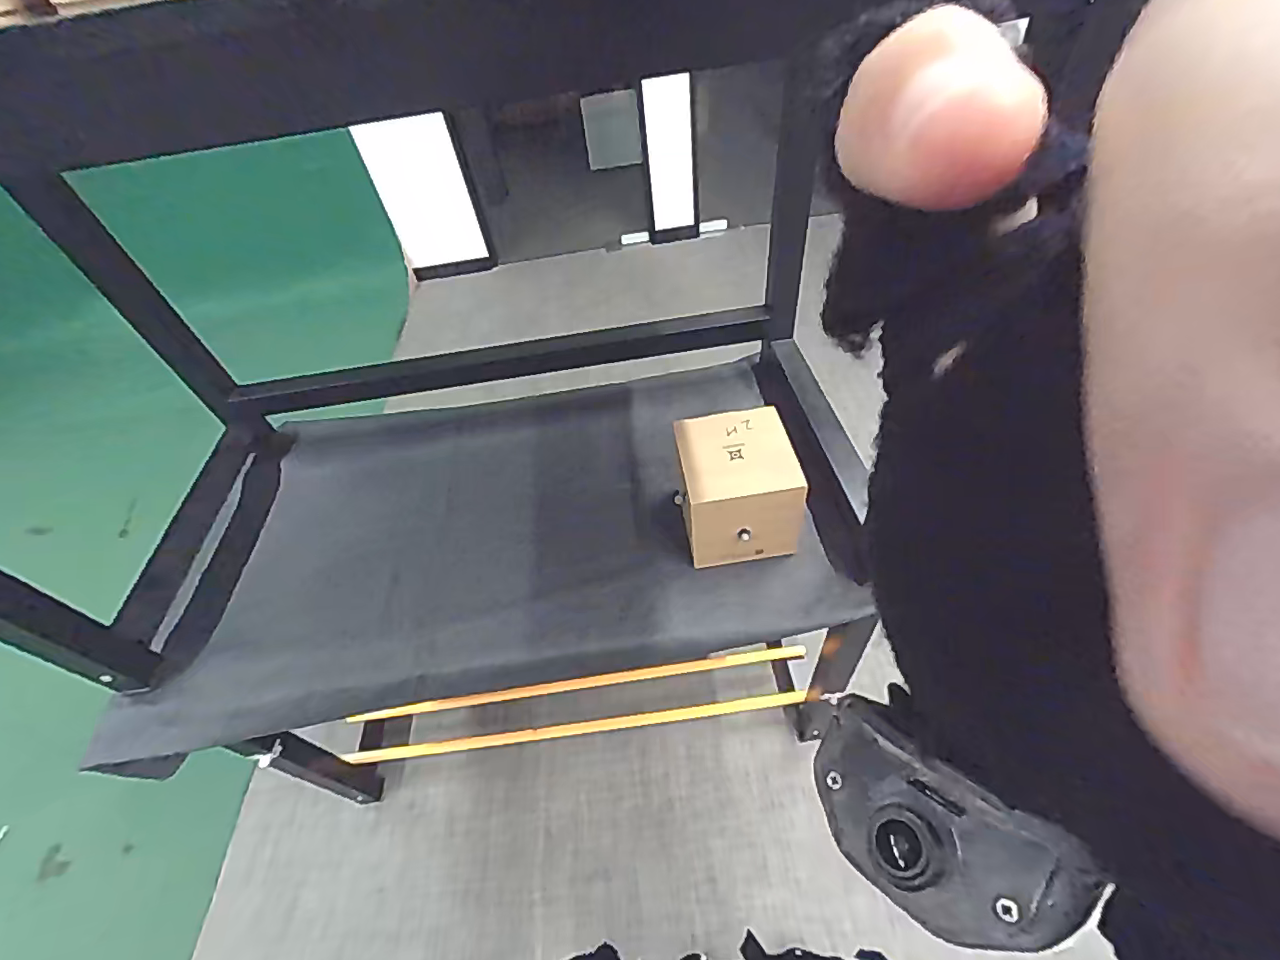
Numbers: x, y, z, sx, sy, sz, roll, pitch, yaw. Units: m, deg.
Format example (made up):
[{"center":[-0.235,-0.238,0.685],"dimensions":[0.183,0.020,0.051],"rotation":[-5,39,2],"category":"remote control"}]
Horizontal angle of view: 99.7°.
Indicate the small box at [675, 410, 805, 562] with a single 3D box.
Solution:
[{"center":[0.152,0.017,0.862],"dimensions":[0.168,0.176,0.179],"rotation":[-8,47,1],"category":"small box"}]
